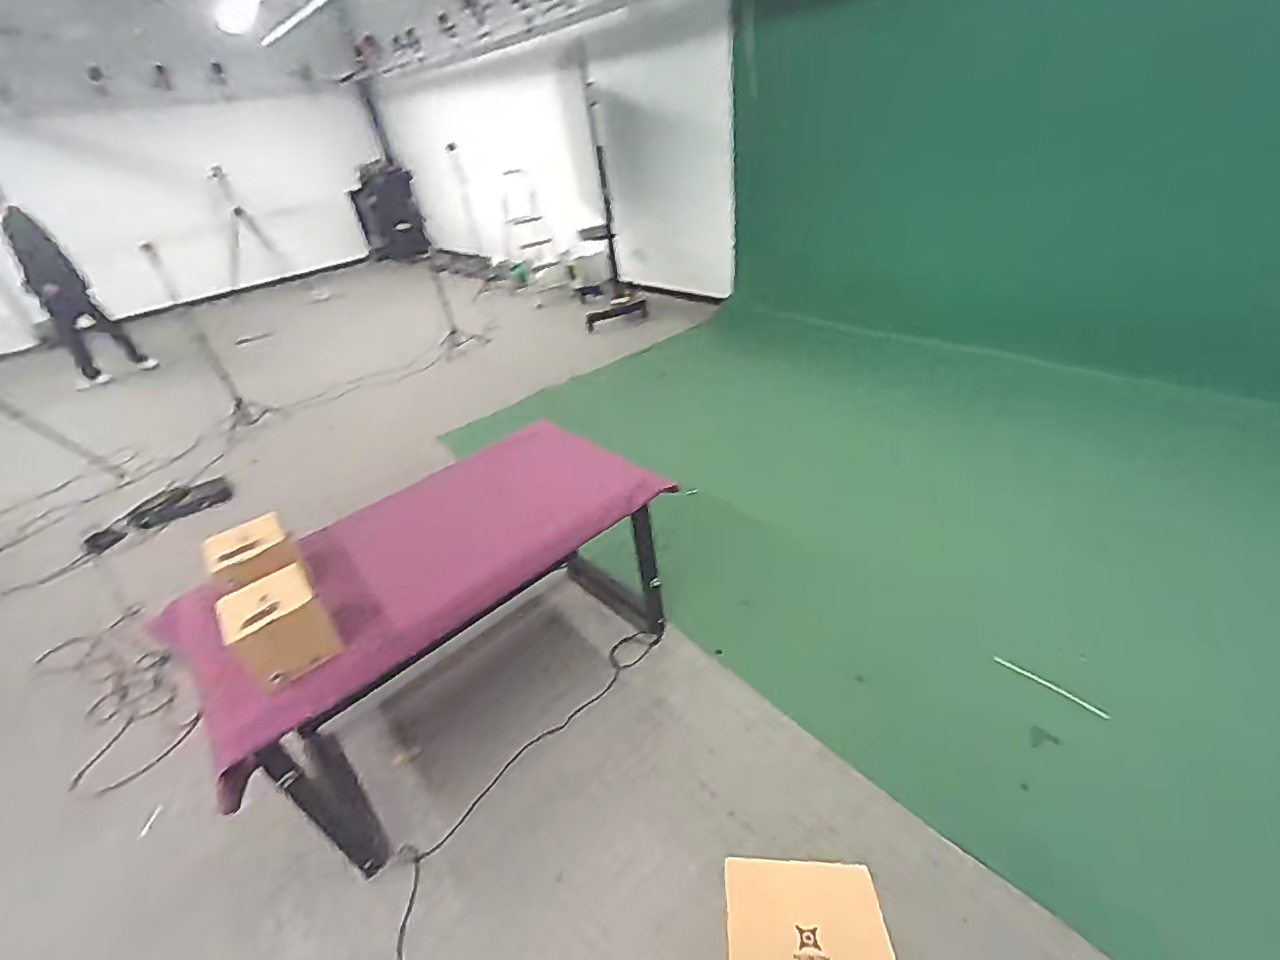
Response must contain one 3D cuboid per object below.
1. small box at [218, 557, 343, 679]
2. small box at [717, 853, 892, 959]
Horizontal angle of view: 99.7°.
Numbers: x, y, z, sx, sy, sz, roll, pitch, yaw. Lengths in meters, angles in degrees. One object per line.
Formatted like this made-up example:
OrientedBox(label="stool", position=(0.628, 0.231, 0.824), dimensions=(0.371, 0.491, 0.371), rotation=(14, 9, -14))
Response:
OrientedBox(label="small box", position=(-0.795, 0.311, 1.205), dimensions=(0.168, 0.176, 0.179), rotation=(-30, 40, -29))
OrientedBox(label="small box", position=(0.169, 0.542, 0.572), dimensions=(0.168, 0.176, 0.179), rotation=(-1, 18, 5))
